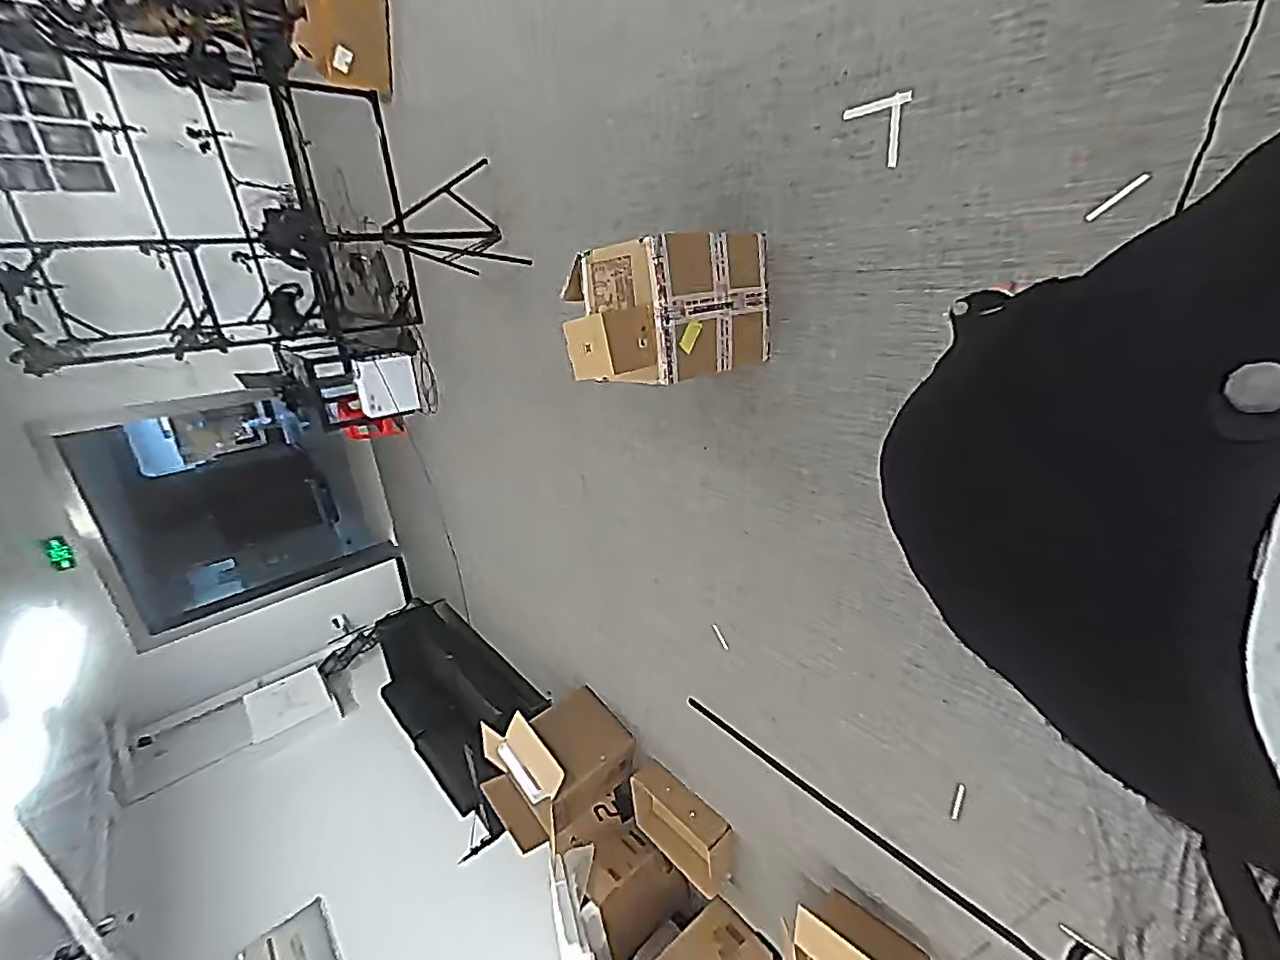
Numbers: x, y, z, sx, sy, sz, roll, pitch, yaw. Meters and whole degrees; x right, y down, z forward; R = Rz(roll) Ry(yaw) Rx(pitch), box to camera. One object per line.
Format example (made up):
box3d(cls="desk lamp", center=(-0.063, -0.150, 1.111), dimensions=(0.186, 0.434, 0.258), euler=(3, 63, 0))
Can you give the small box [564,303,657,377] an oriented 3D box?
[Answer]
box3d(cls="small box", center=(-0.079, -0.387, 1.502), dimensions=(0.179, 0.176, 0.168), euler=(3, 111, 46))
